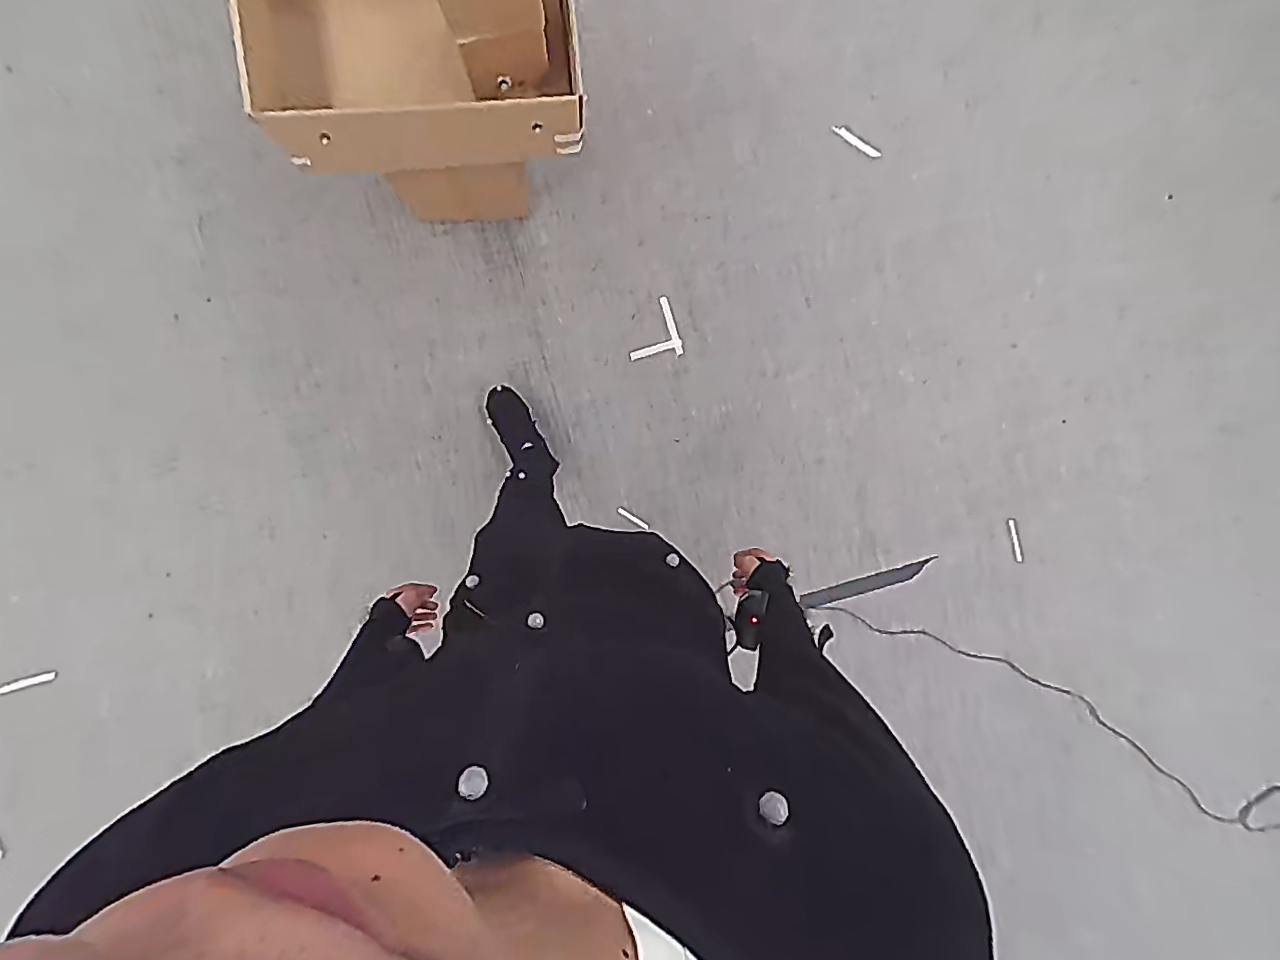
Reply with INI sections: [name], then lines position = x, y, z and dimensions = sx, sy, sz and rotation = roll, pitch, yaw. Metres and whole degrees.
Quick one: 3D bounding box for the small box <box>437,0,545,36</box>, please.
[small box]
position = -0.265, -0.880, 0.891
dimensions = 0.179, 0.176, 0.168
rotation = -10, 92, -3
